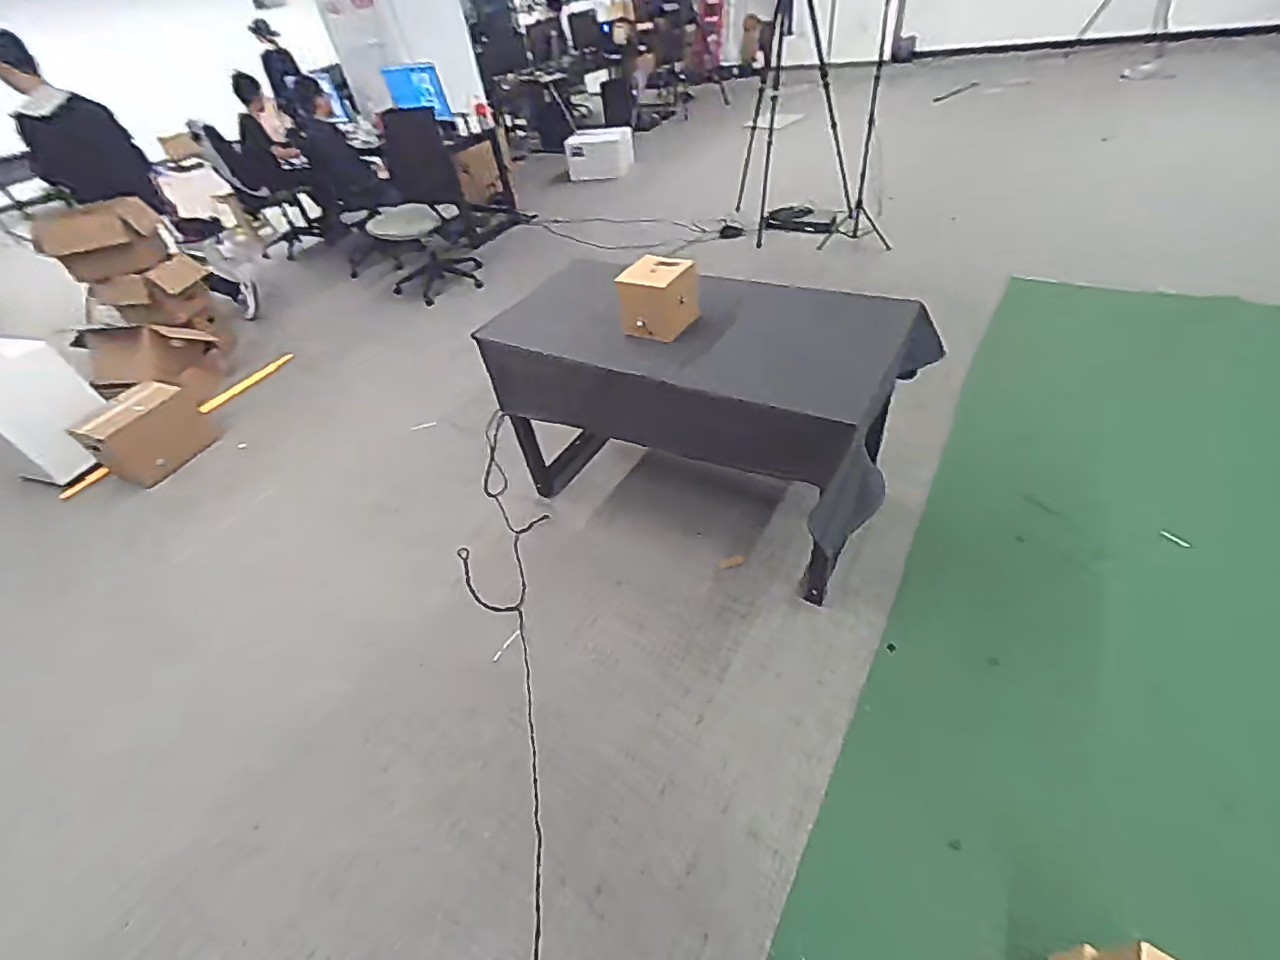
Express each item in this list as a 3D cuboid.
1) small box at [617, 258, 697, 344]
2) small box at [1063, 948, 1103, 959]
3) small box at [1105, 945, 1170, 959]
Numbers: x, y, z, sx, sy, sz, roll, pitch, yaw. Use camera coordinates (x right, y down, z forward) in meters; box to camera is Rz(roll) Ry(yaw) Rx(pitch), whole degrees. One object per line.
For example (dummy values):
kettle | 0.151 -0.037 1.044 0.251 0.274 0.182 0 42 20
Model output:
small box | 0.056 -0.517 1.561 0.168 0.176 0.179 19 50 28
small box | 0.806 0.957 0.916 0.179 0.176 0.168 24 52 31
small box | 0.789 0.845 0.795 0.168 0.176 0.179 23 51 30
